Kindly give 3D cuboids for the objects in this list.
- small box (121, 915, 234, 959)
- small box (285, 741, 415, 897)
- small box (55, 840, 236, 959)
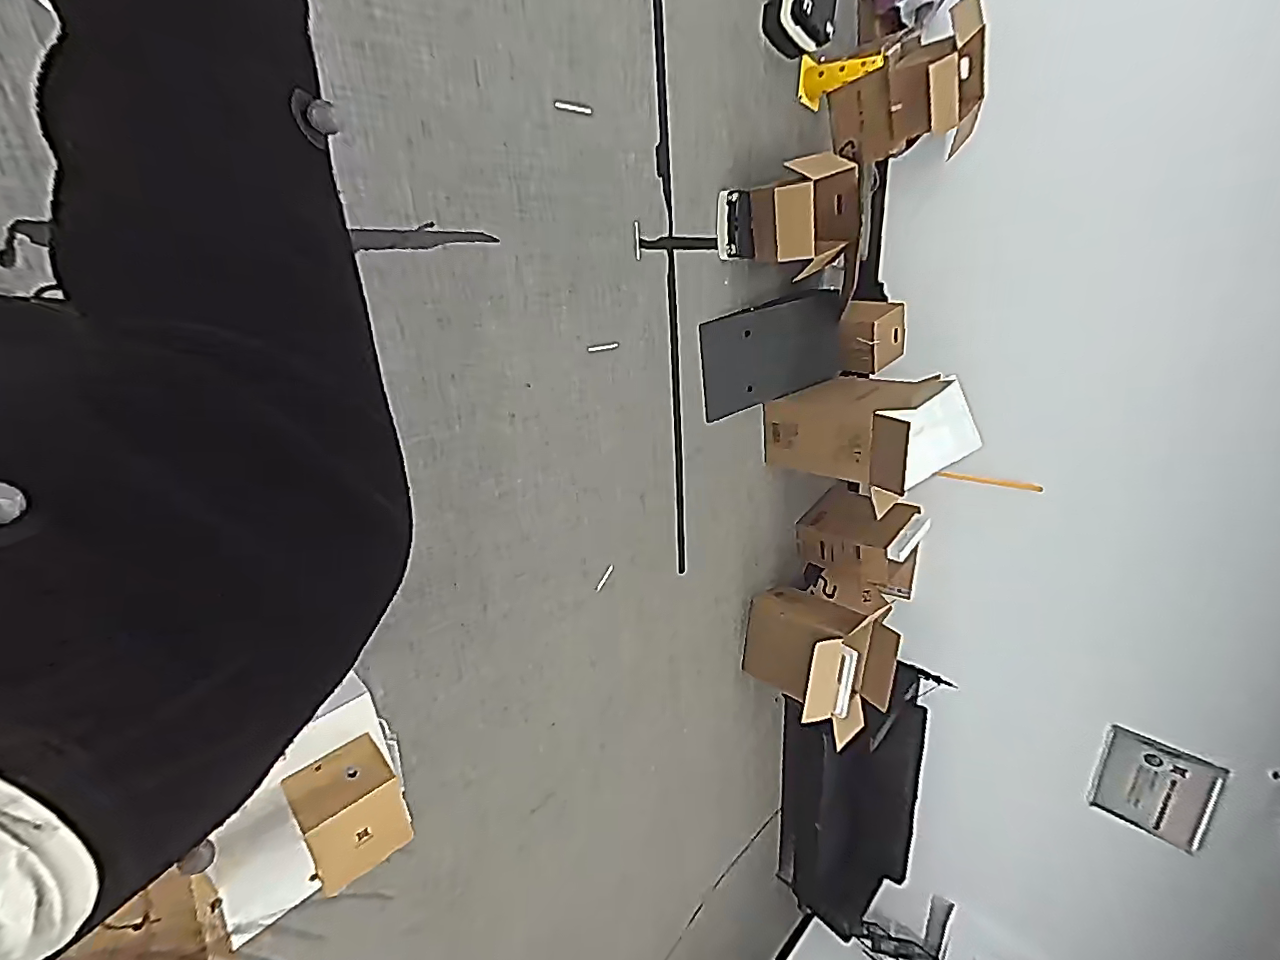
[{"bbox_3d":[-0.678,0.778,0.767,0.168,0.176,0.179,-26,120,-40],"label":"small box"},{"bbox_3d":[-0.581,0.658,1.081,0.168,0.176,0.179,-23,119,-40],"label":"small box"},{"bbox_3d":[-0.796,0.742,0.877,0.168,0.176,0.179,-27,121,-40],"label":"small box"}]
